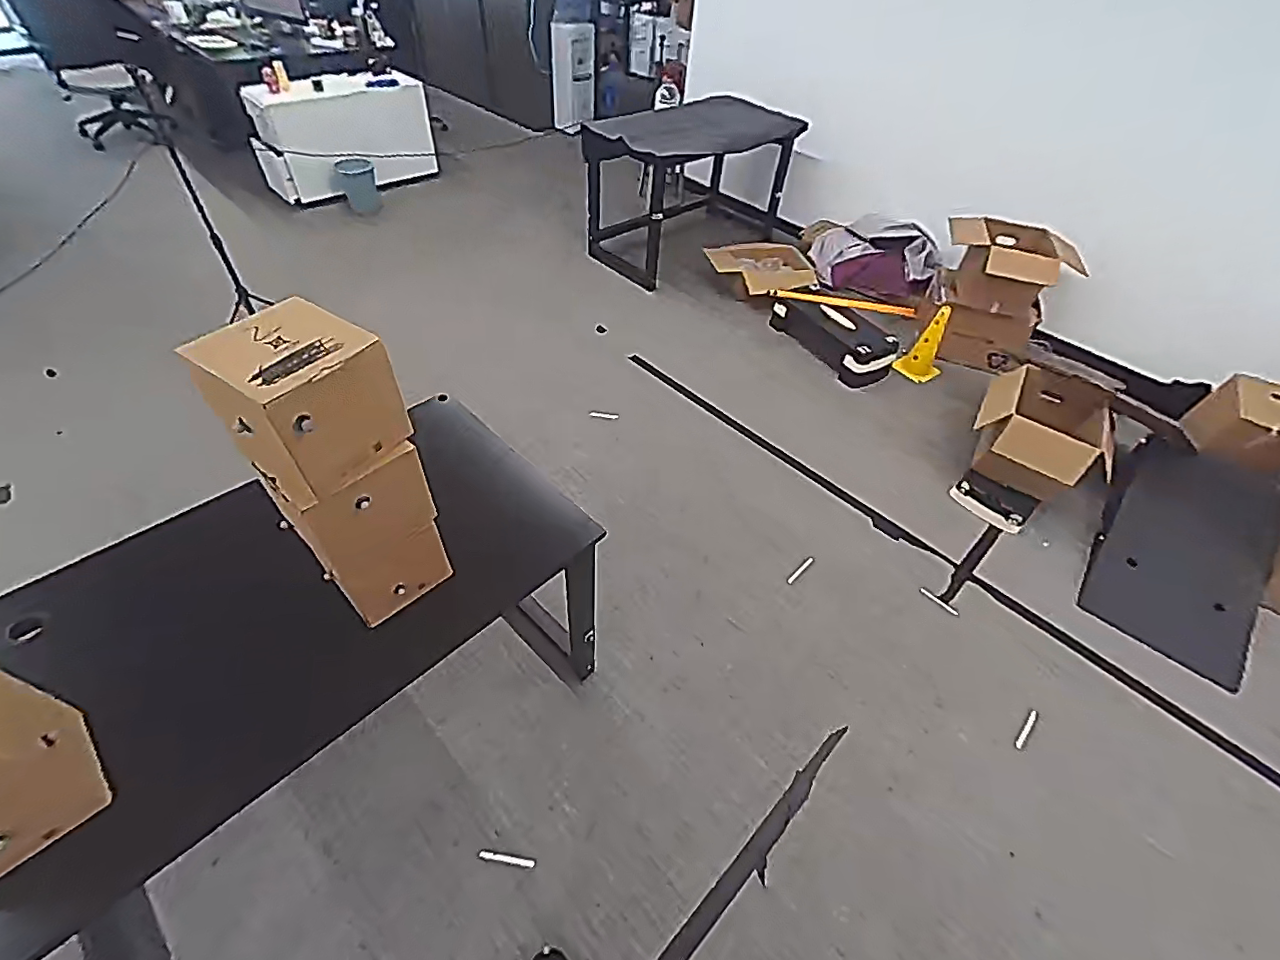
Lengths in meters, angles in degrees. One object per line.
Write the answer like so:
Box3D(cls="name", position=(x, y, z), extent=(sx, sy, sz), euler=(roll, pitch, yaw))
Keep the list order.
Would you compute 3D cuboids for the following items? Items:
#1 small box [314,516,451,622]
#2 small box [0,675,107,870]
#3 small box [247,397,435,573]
Box3D(cls="small box", position=(-0.464, 0.116, 0.960), extent=(0.179, 0.176, 0.168), euler=(38, 55, 25))
Box3D(cls="small box", position=(-0.838, 0.382, 0.681), extent=(0.179, 0.176, 0.168), euler=(37, 54, 25))
Box3D(cls="small box", position=(-0.447, 0.010, 0.836), extent=(0.168, 0.176, 0.179), euler=(35, 53, 23))
